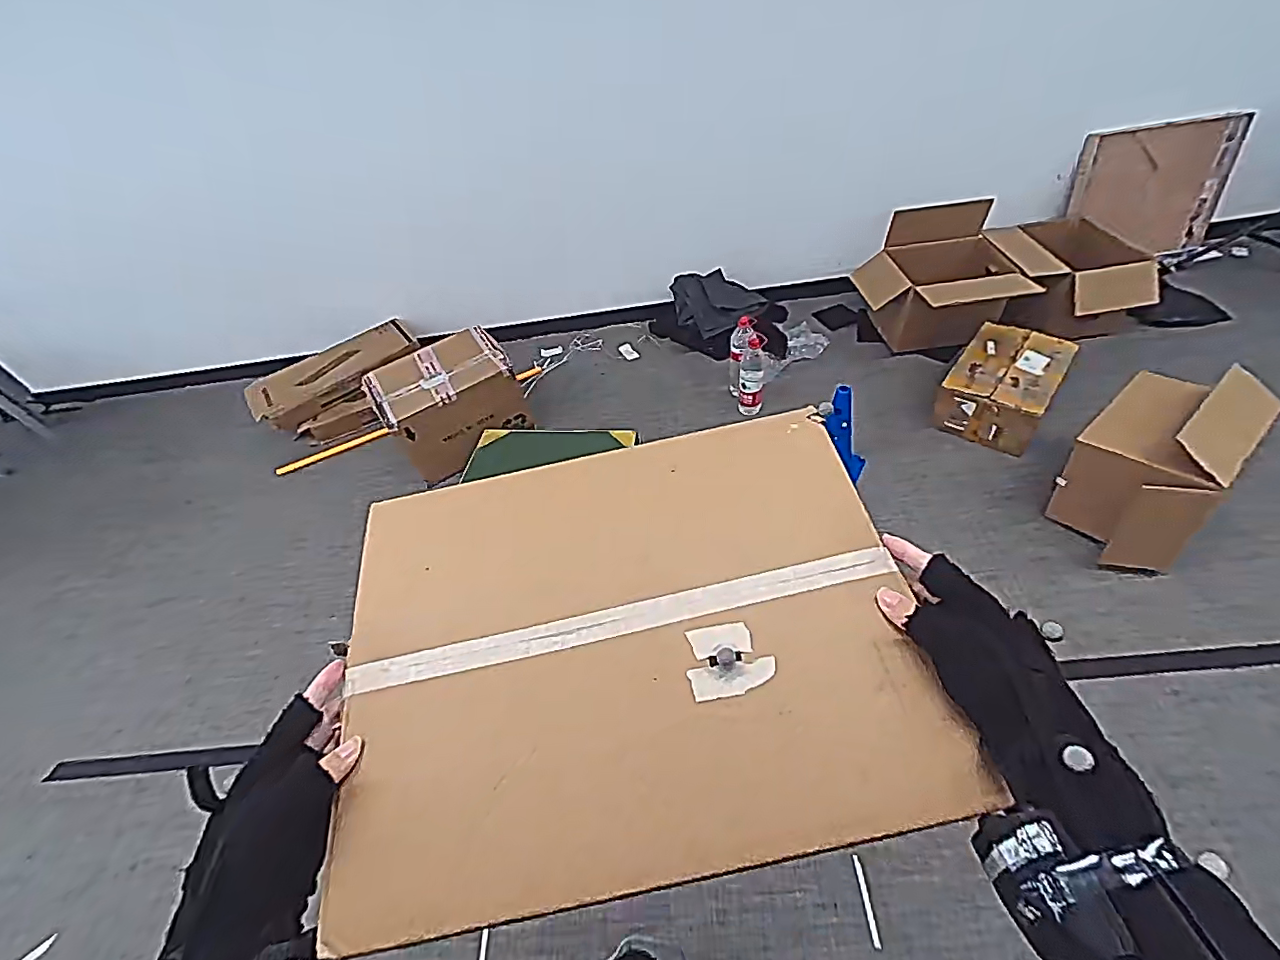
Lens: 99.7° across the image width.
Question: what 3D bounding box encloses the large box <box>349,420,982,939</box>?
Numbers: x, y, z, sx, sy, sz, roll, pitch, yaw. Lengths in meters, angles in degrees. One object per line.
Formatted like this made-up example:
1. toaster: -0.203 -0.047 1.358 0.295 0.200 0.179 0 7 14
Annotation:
1. large box: 0.005 0.191 0.531 0.408 0.320 0.320 -12 56 -1
